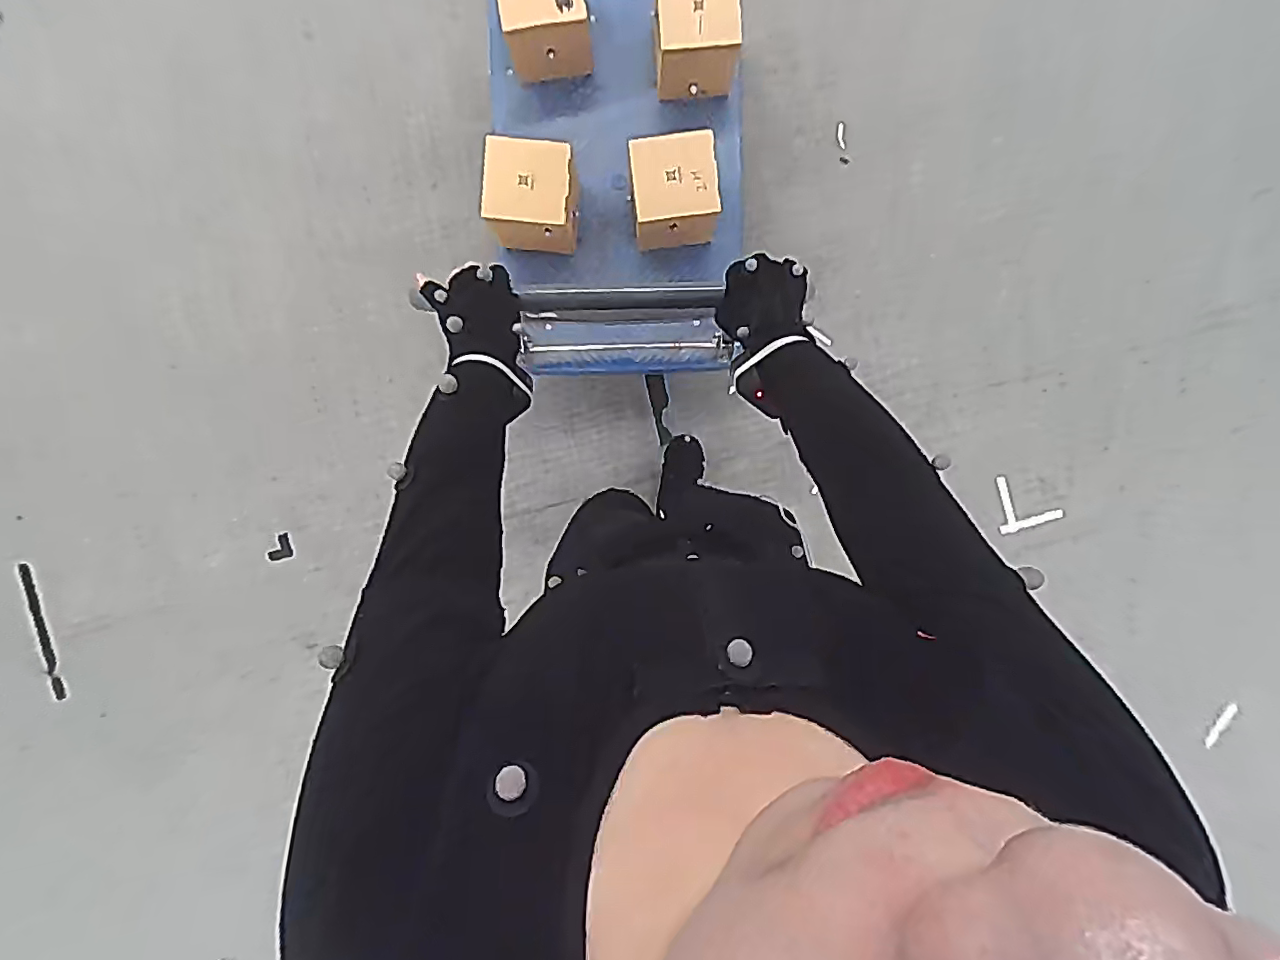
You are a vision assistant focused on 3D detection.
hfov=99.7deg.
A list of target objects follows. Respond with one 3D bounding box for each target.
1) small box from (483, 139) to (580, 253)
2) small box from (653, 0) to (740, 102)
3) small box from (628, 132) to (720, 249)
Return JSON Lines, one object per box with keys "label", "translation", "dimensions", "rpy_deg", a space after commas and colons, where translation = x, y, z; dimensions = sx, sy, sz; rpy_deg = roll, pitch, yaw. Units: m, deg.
{"label": "small box", "translation": [-0.232, -0.617, 1.193], "dimensions": [0.179, 0.176, 0.168], "rpy_deg": [5, 93, -1]}
{"label": "small box", "translation": [0.117, -0.962, 1.168], "dimensions": [0.168, 0.176, 0.179], "rpy_deg": [-4, 95, 1]}
{"label": "small box", "translation": [0.072, -0.626, 1.190], "dimensions": [0.179, 0.176, 0.168], "rpy_deg": [-7, 94, 1]}
